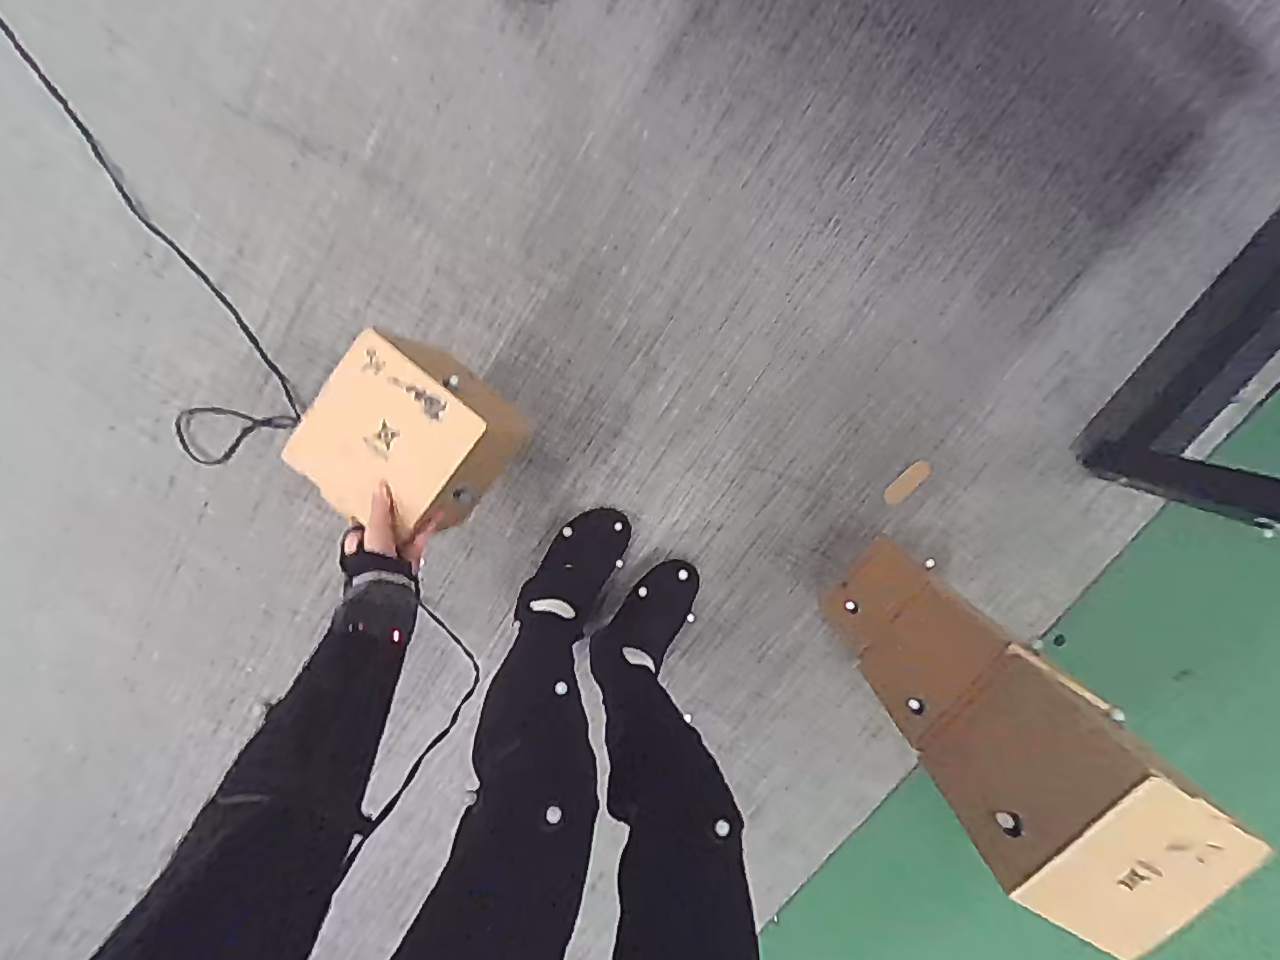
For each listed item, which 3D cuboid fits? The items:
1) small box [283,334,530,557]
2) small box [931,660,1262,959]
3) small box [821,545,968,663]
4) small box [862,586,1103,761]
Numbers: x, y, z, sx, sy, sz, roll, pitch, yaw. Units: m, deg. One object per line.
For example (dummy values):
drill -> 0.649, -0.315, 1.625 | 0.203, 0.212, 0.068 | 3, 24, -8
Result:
small box -> -0.258, -0.040, 0.639 | 0.168, 0.176, 0.179 | 39, 99, 2
small box -> 0.446, 0.332, 0.569 | 0.168, 0.176, 0.179 | 33, 103, -10
small box -> 0.428, 0.227, 0.878 | 0.179, 0.176, 0.168 | 35, 101, -10
small box -> 0.436, 0.273, 0.723 | 0.168, 0.176, 0.179 | 32, 103, -10
